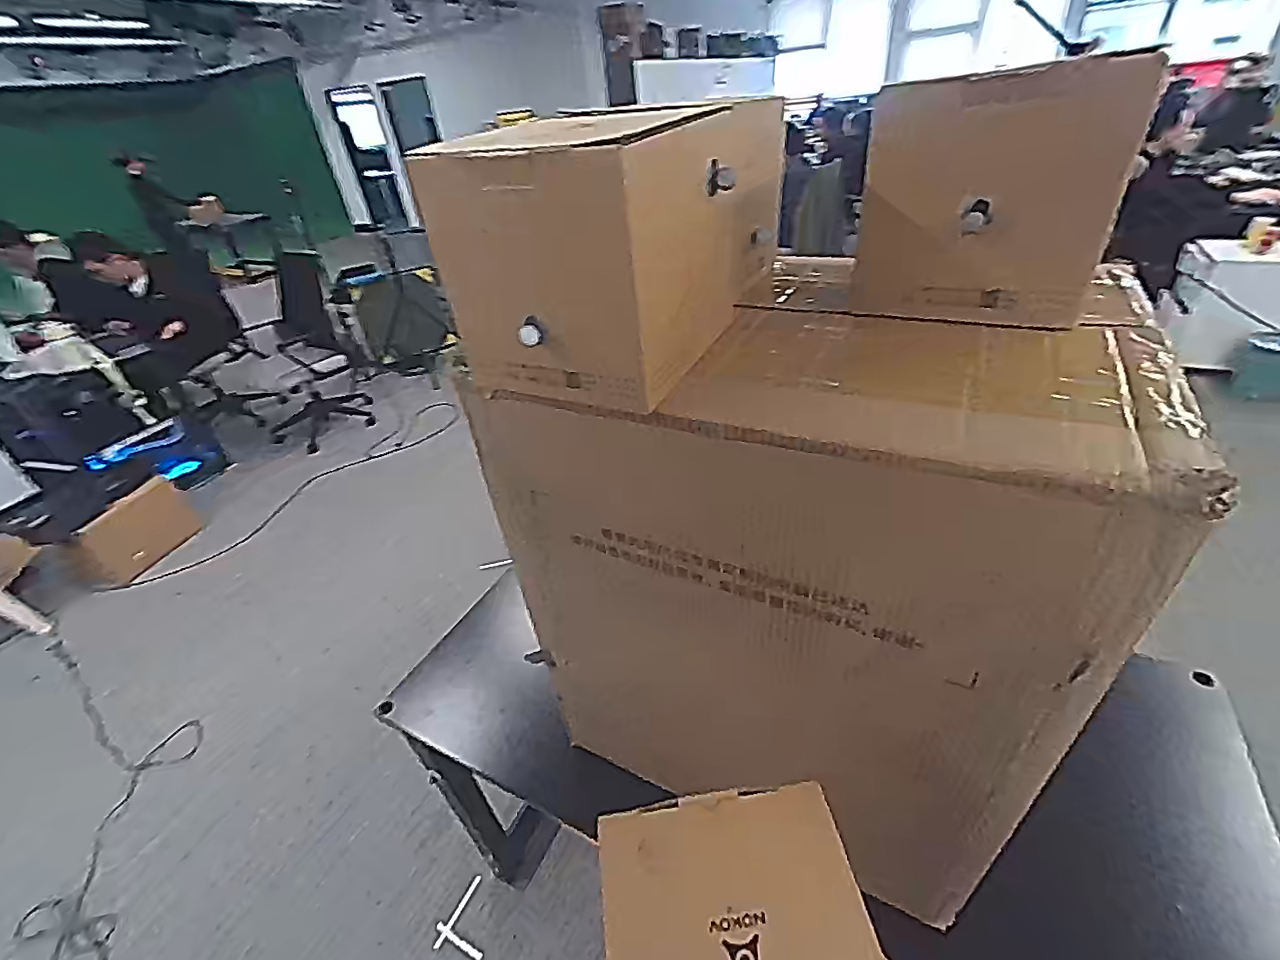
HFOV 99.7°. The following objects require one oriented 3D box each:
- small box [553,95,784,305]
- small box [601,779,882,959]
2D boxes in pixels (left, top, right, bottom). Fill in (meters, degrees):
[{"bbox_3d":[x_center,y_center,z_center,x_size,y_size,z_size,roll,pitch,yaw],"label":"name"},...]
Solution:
[{"bbox_3d":[0.036,-0.291,0.565,0.179,0.176,0.168,14,40,25],"label":"small box"},{"bbox_3d":[0.062,0.342,0.377,0.168,0.176,0.179,-6,41,-4],"label":"small box"}]
